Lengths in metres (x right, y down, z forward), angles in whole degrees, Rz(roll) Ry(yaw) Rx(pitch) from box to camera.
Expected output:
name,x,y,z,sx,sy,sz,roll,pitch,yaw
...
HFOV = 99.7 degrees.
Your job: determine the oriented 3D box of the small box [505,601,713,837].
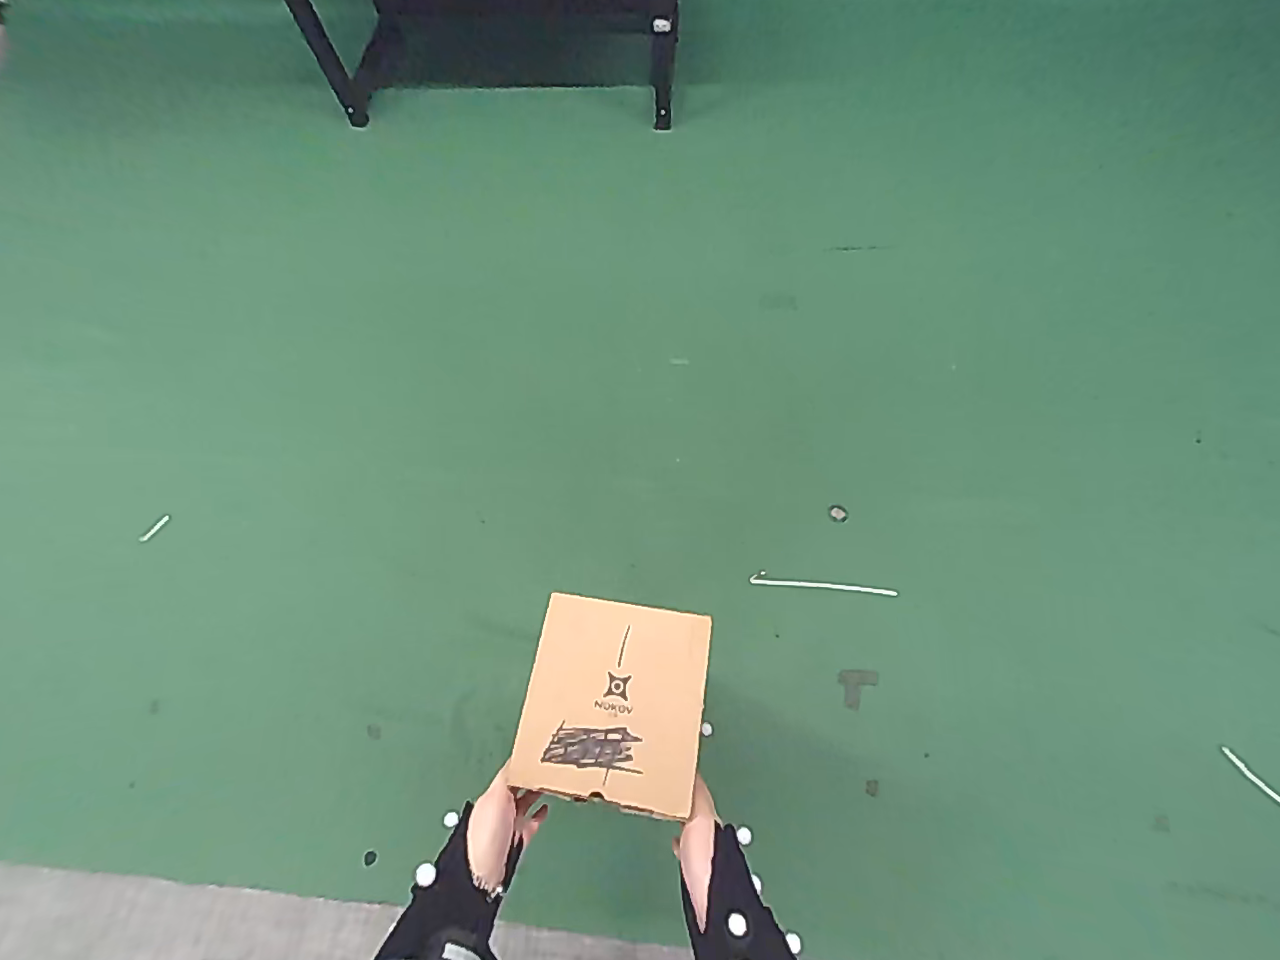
name,x,y,z,sx,sy,sz,roll,pitch,yaw
small box,-0.019,0.244,0.564,0.168,0.176,0.179,8,64,7
